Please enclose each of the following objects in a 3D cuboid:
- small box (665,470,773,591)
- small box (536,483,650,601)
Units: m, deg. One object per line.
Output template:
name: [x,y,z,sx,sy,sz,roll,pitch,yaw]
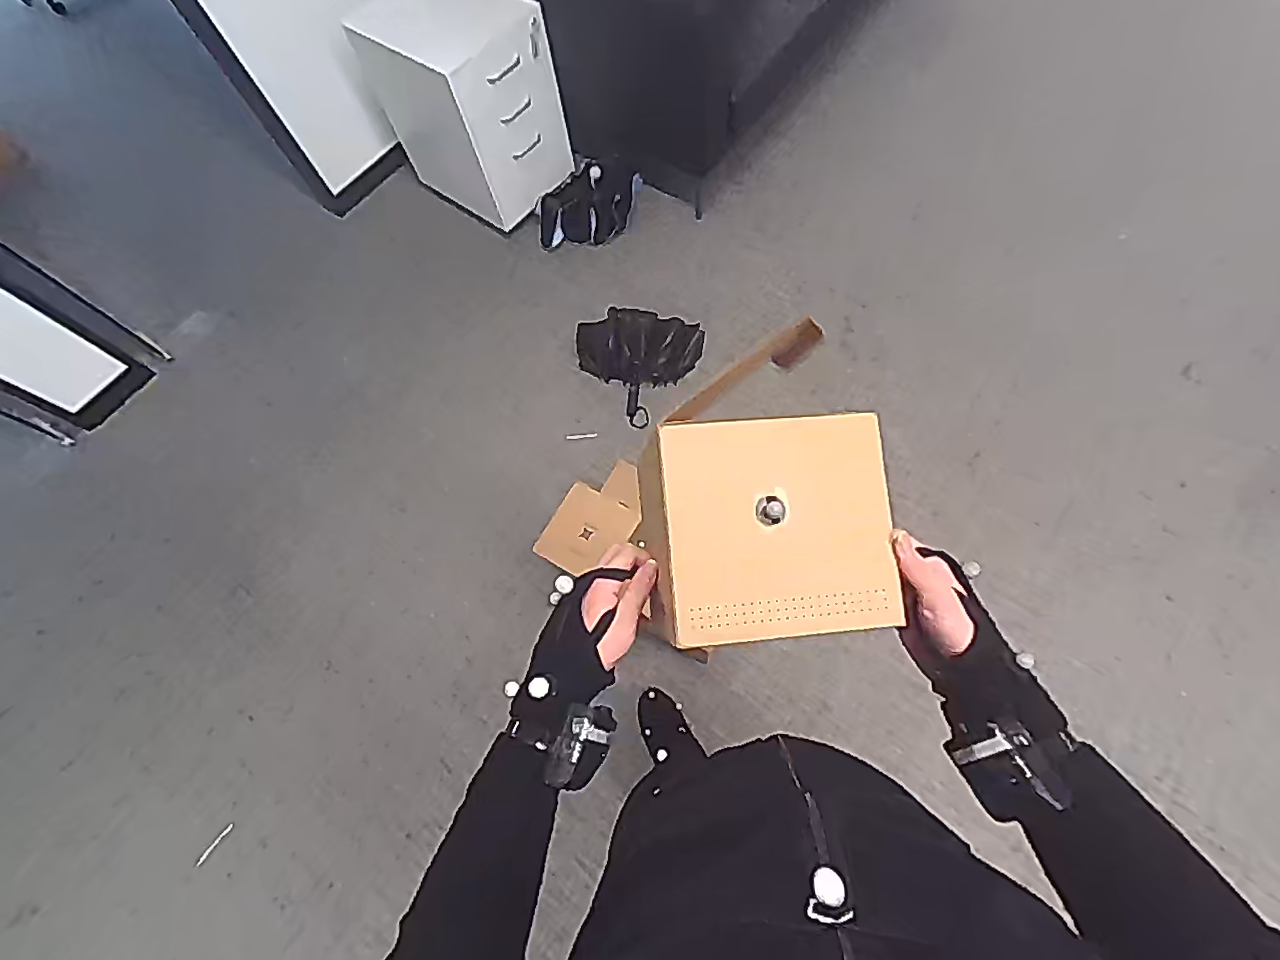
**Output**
small box: [0.167,0.114,1.144,0.168,0.176,0.179,23,70,15]
small box: [-0.090,0.139,1.165,0.168,0.176,0.179,26,76,17]
